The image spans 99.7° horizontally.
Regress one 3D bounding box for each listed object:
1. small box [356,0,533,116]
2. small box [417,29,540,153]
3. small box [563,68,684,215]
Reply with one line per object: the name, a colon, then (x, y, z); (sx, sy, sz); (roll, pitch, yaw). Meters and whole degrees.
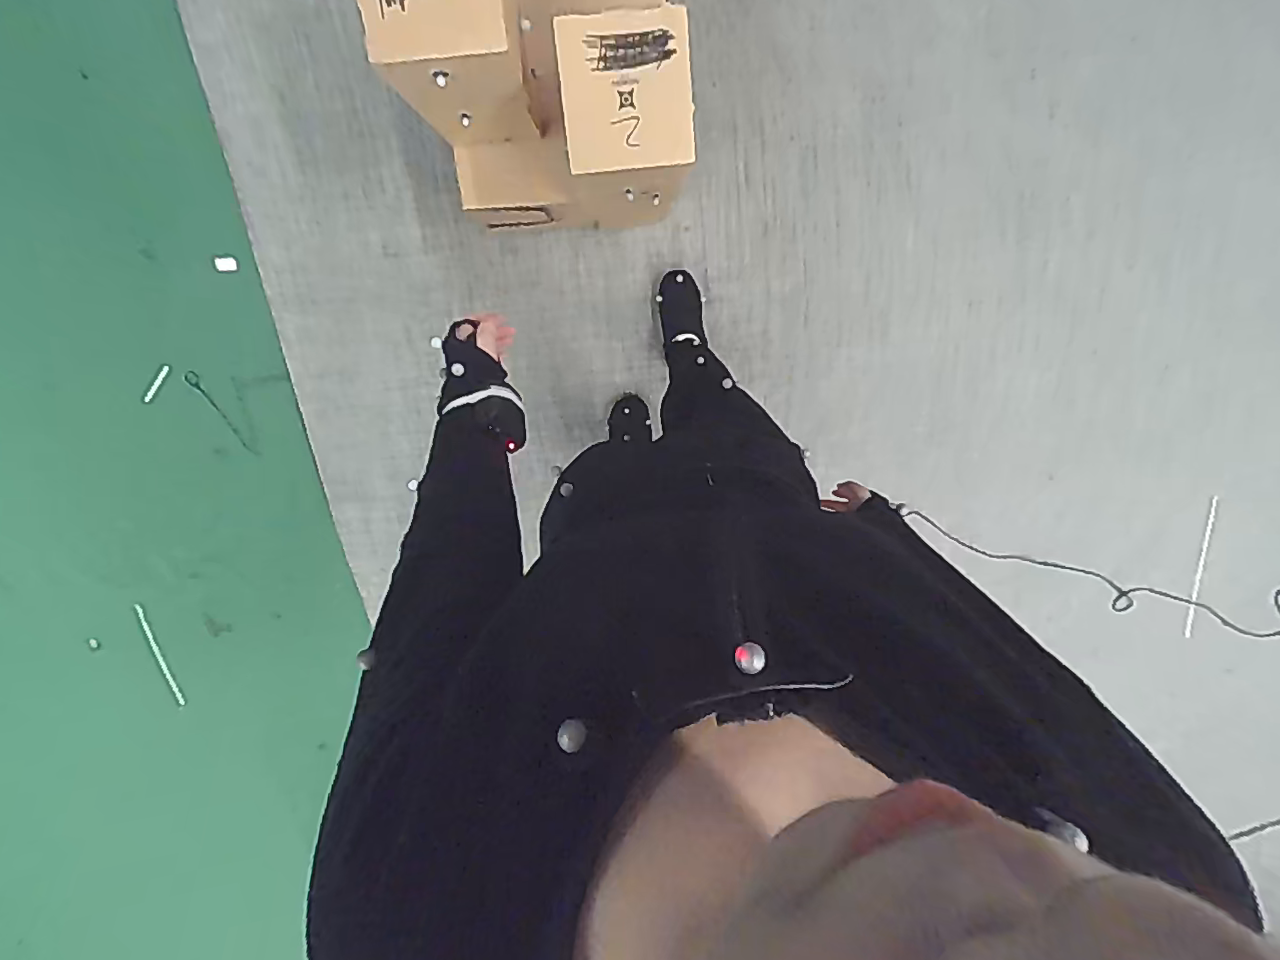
small box: (-0.254, -0.610, 0.718); (0.179, 0.176, 0.168); (-5, 106, 1)
small box: (-0.264, -0.659, 0.876); (0.168, 0.176, 0.179); (-5, 105, 0)
small box: (-0.026, -0.559, 0.912); (0.179, 0.176, 0.168); (-7, 106, 0)
